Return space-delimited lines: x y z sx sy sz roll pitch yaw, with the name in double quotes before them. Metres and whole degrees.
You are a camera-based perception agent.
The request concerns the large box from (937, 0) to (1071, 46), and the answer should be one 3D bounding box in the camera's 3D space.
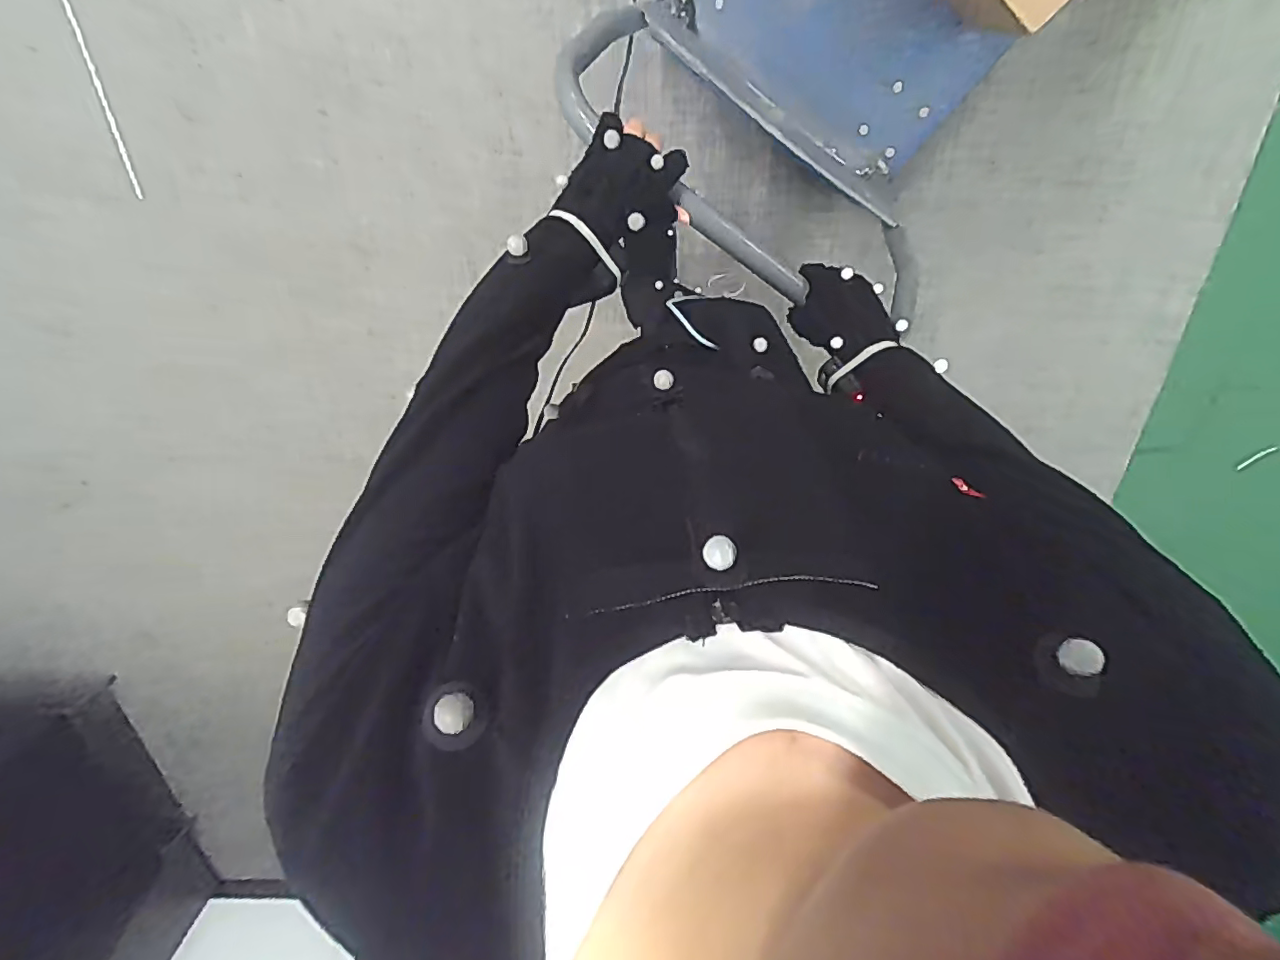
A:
"large box" 0.476 -0.860 0.689 0.408 0.320 0.320 36 129 -15
